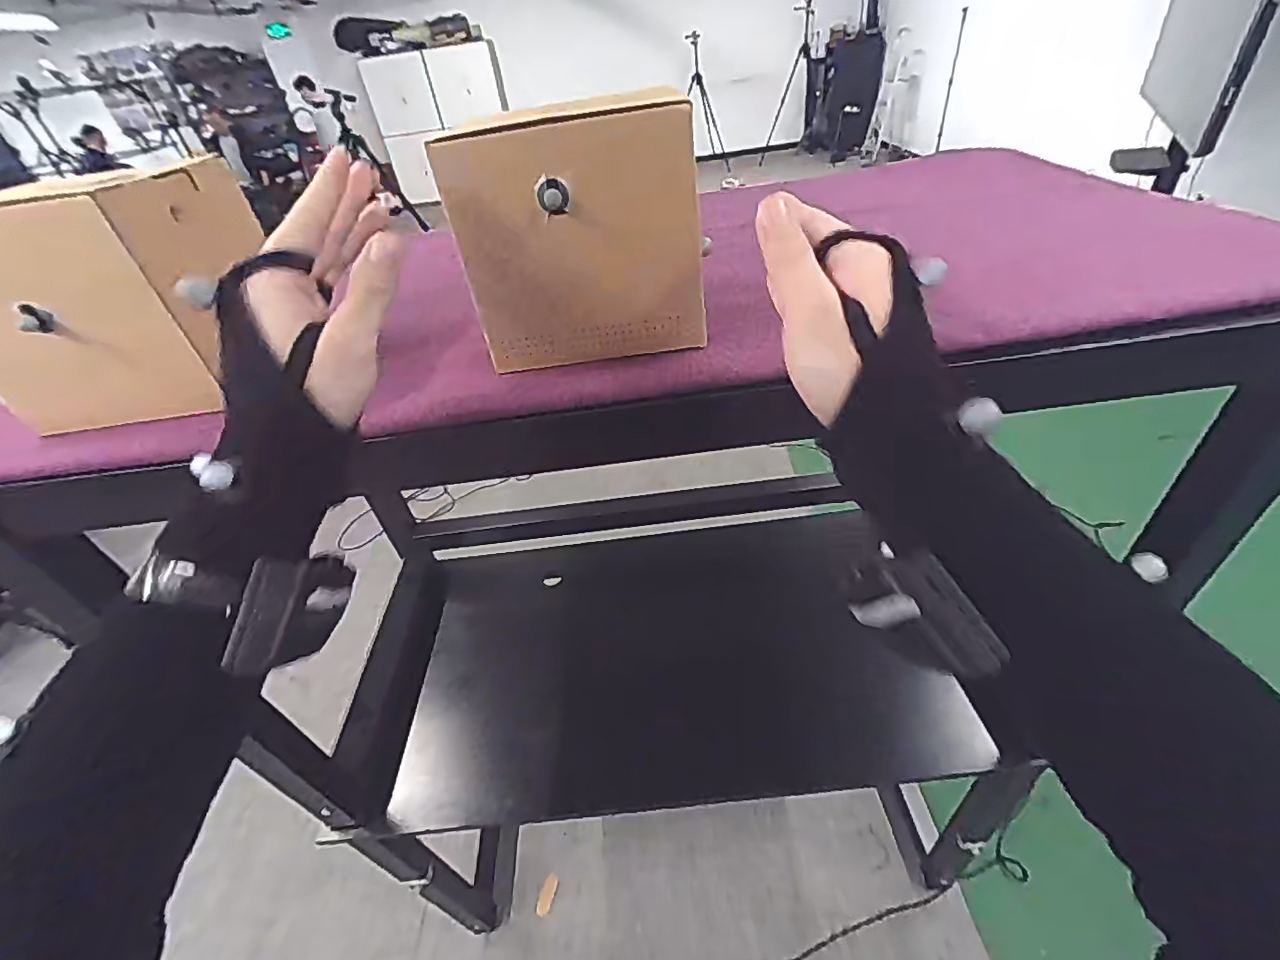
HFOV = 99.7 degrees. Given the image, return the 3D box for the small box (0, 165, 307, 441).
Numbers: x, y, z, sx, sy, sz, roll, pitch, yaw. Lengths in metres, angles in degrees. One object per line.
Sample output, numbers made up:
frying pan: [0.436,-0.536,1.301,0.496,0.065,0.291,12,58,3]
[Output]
small box: [-0.439,-0.154,0.474,0.179,0.176,0.168,-9,38,2]

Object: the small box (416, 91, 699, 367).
small box: [-0.051,-0.208,0.455,0.179,0.176,0.168,-7,39,4]
